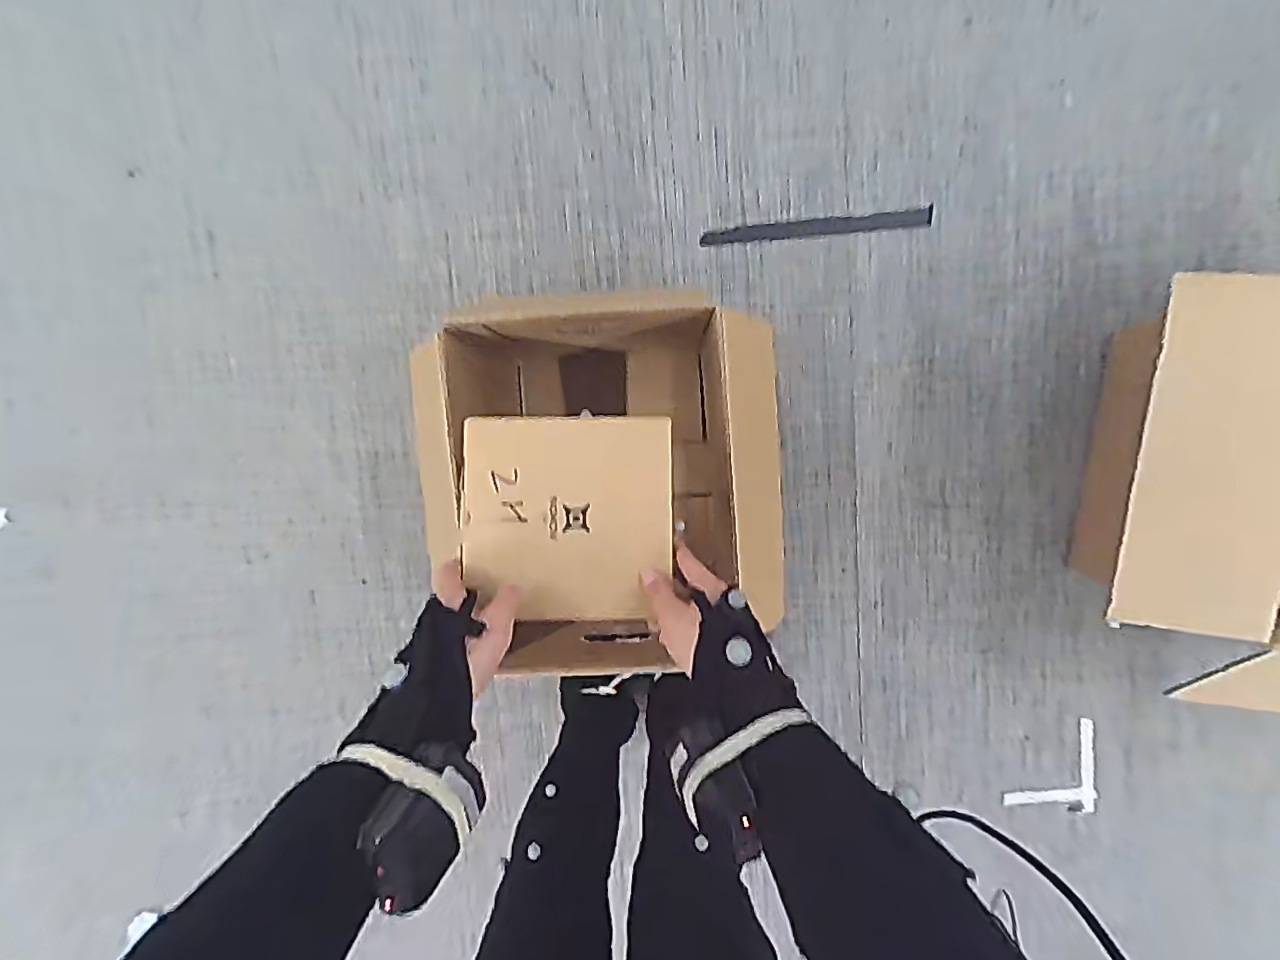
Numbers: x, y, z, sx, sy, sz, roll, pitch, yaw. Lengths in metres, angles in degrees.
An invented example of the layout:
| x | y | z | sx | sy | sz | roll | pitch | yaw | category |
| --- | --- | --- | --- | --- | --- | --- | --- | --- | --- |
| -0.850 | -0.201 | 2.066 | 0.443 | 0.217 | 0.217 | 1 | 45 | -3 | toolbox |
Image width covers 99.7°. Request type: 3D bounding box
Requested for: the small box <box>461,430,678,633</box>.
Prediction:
| x | y | z | sx | sy | sz | roll | pitch | yaw | category |
| --- | --- | --- | --- | --- | --- | --- | --- | --- | --- |
| -0.056 | 0.048 | 0.520 | 0.179 | 0.176 | 0.168 | 0 | 84 | 1 | small box |
